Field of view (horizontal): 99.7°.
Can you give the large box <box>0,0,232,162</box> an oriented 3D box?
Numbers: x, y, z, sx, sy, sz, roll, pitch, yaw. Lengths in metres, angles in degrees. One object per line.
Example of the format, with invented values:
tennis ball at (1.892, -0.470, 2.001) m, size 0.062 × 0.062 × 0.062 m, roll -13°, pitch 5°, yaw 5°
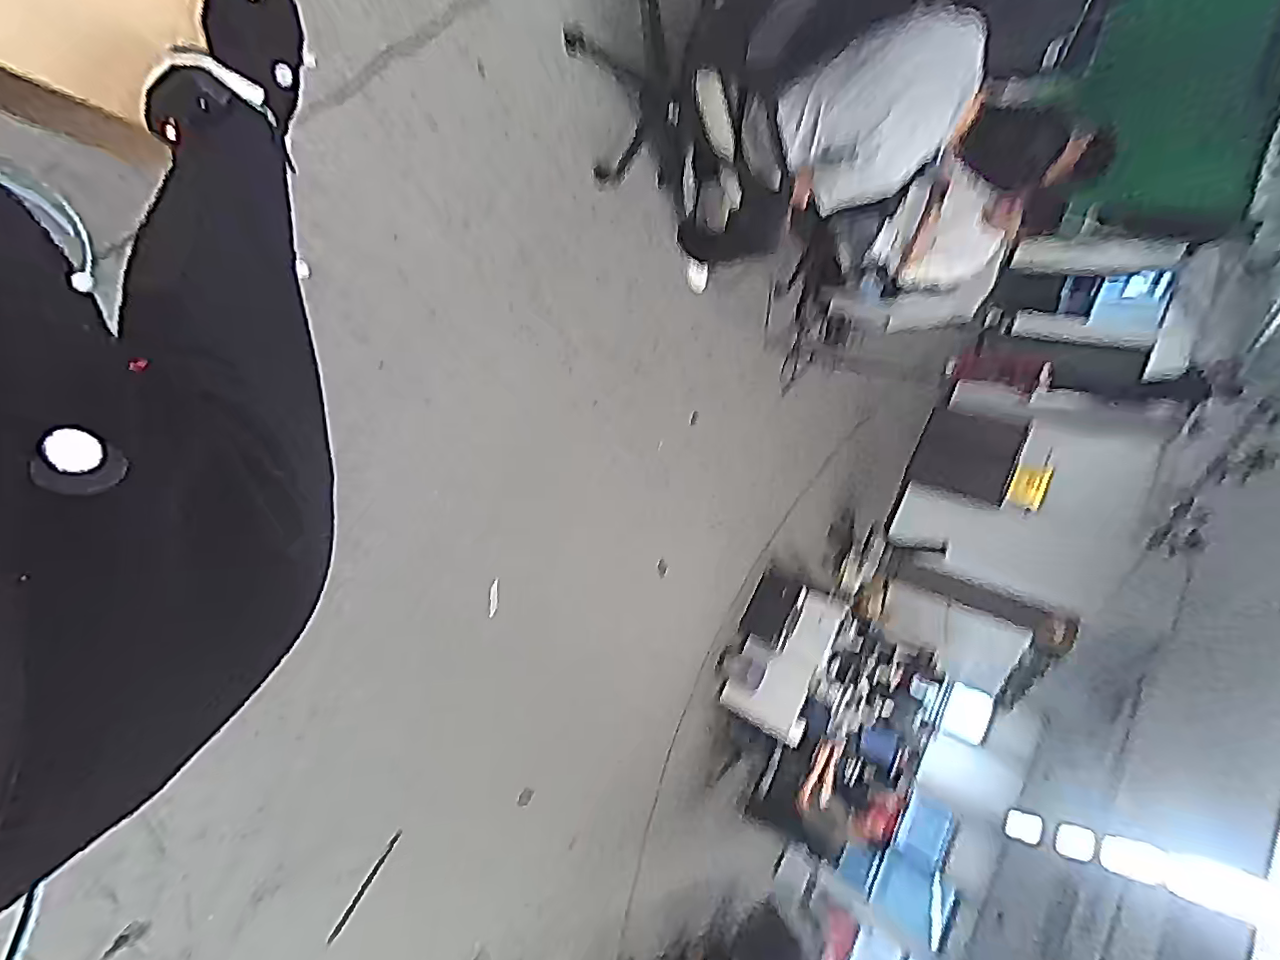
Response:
large box at (-0.598, -0.505, 0.416) m, size 0.408 × 0.320 × 0.320 m, roll 4°, pitch 105°, yaw -53°
